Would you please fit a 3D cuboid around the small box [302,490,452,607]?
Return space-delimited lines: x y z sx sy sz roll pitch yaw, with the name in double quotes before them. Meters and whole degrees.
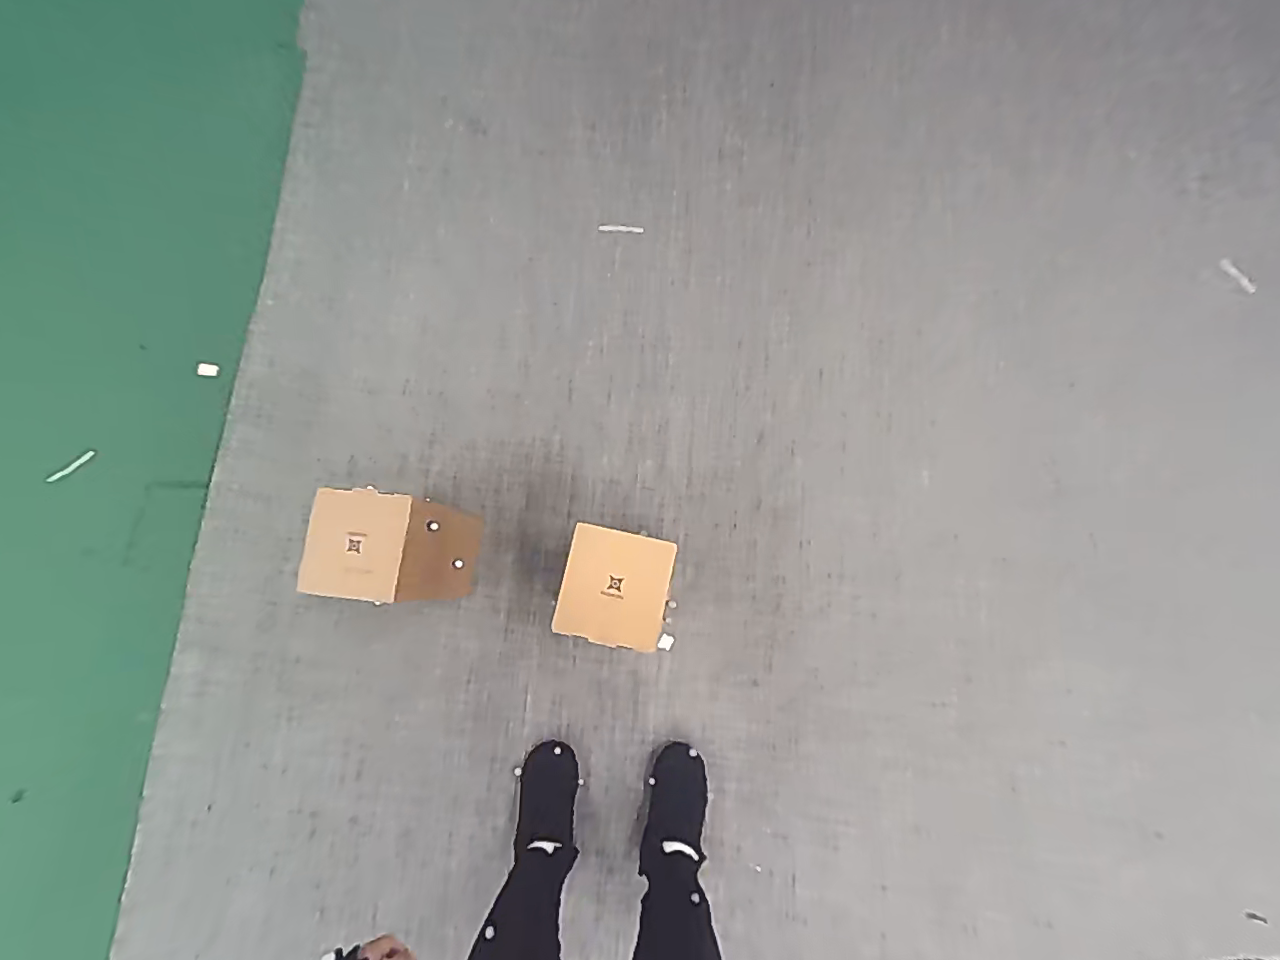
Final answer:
"small box" -0.448 0.122 0.950 0.168 0.176 0.179 5 81 5

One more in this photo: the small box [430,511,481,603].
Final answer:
"small box" -0.444 0.147 1.111 0.168 0.176 0.179 8 82 4

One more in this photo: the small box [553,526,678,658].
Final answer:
"small box" -0.035 0.185 0.921 0.168 0.176 0.179 12 82 5
